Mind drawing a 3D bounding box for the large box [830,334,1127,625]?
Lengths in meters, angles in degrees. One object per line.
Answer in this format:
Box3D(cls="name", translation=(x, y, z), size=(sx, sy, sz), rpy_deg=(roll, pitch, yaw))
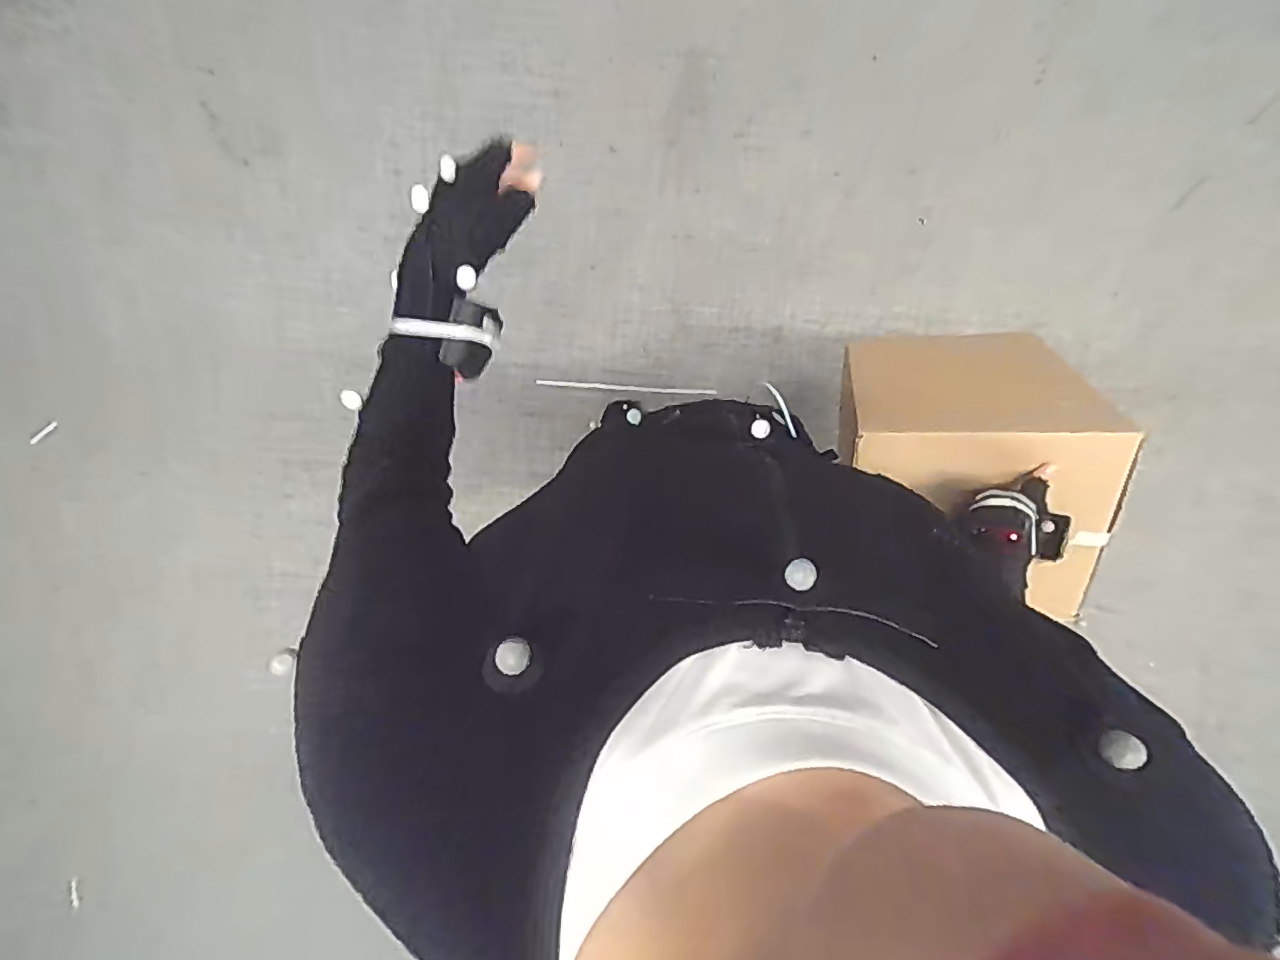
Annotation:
Box3D(cls="large box", translation=(0.494, -0.032, 0.903), size=(0.320, 0.408, 0.320), rpy_deg=(3, 122, 19))
